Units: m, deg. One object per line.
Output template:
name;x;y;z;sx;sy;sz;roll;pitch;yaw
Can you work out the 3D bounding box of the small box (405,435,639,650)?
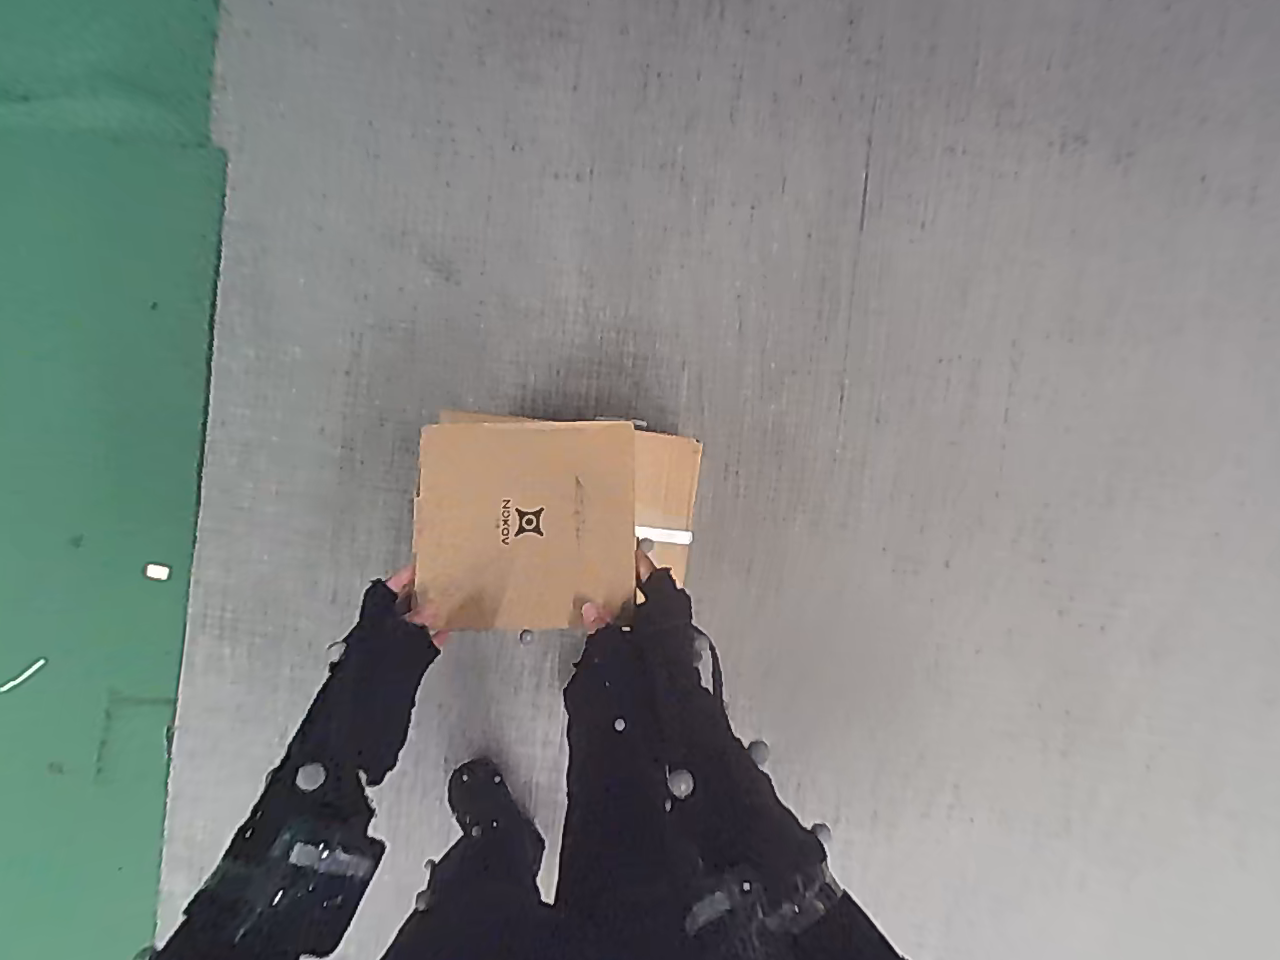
small box;-0.091;0.058;0.495;0.179;0.176;0.168;-2;82;-1
